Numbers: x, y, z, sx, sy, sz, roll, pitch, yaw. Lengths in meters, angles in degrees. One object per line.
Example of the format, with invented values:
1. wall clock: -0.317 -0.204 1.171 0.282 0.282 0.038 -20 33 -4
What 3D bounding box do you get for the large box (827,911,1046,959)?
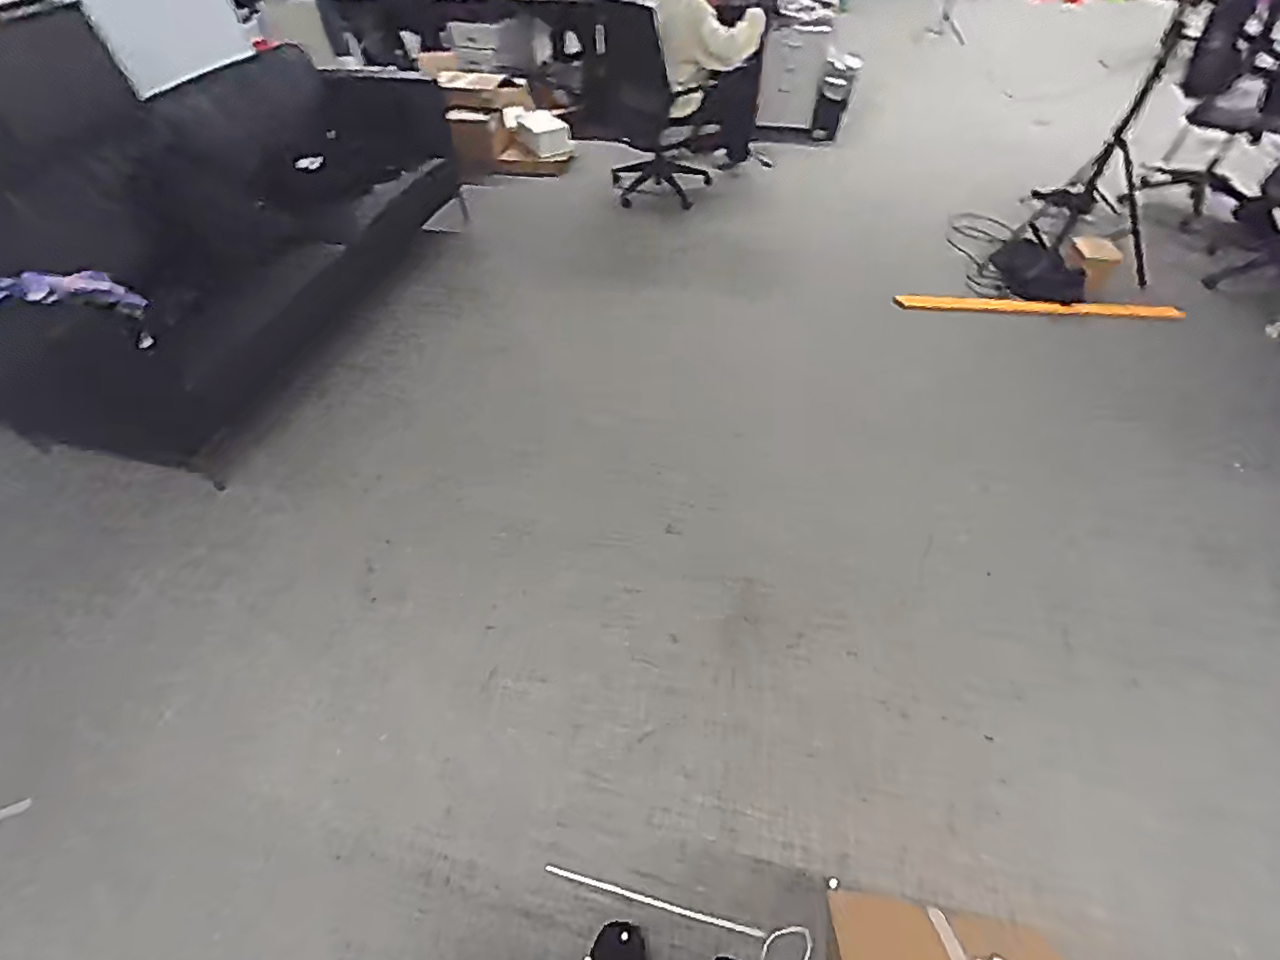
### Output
1. large box: 0.405 0.817 0.631 0.320 0.408 0.320 3 81 13
